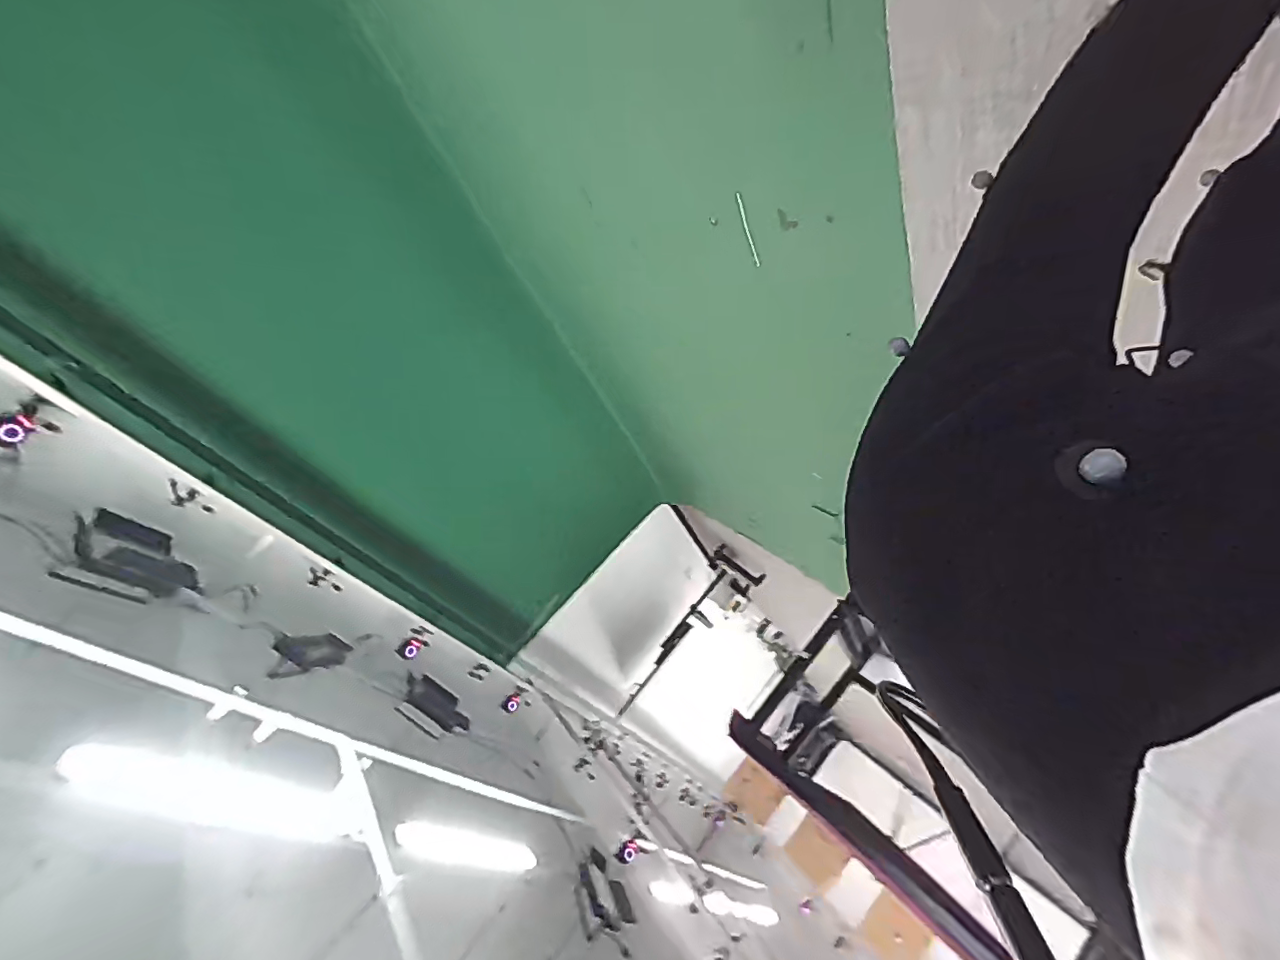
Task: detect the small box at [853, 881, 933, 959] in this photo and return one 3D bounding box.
[{"bbox_3d":[0.816,1.430,1.734,0.168,0.176,0.179,30,164,44],"label":"small box"}]

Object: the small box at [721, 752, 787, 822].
[{"bbox_3d":[0.462,1.229,2.173,0.168,0.176,0.179,31,164,44],"label":"small box"}]
